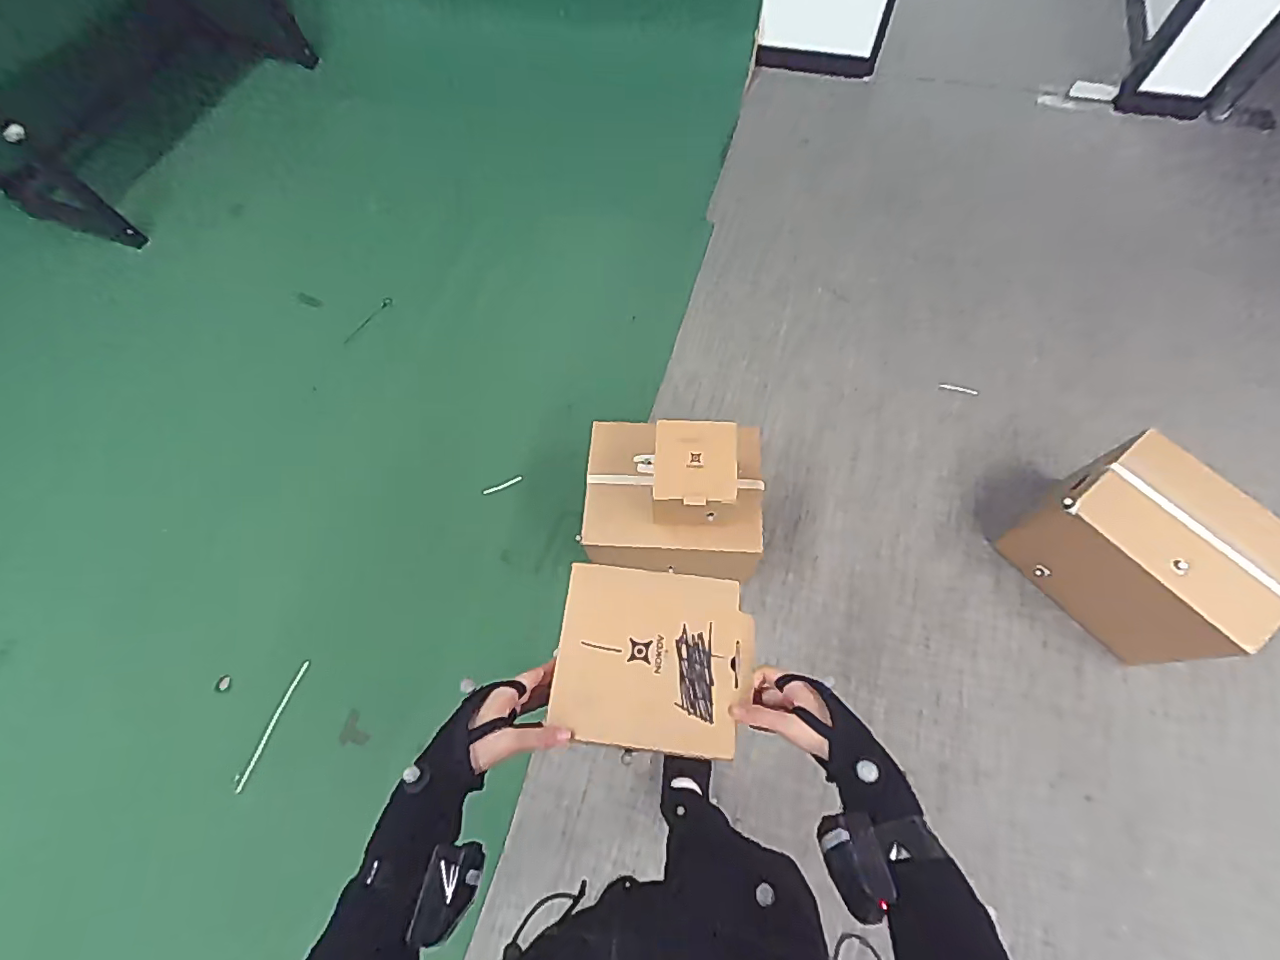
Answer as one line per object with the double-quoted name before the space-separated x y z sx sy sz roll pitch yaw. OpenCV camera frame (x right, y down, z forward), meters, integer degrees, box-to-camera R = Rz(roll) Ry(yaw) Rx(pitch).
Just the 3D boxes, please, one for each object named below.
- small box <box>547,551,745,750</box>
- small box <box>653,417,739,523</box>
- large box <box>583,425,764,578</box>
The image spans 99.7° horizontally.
"small box" 0.008 0.191 0.589 0.179 0.176 0.168 7 63 1
"small box" 0.117 -0.015 1.140 0.168 0.176 0.179 2 68 4
"large box" 0.089 0.067 1.374 0.408 0.320 0.320 1 66 5
